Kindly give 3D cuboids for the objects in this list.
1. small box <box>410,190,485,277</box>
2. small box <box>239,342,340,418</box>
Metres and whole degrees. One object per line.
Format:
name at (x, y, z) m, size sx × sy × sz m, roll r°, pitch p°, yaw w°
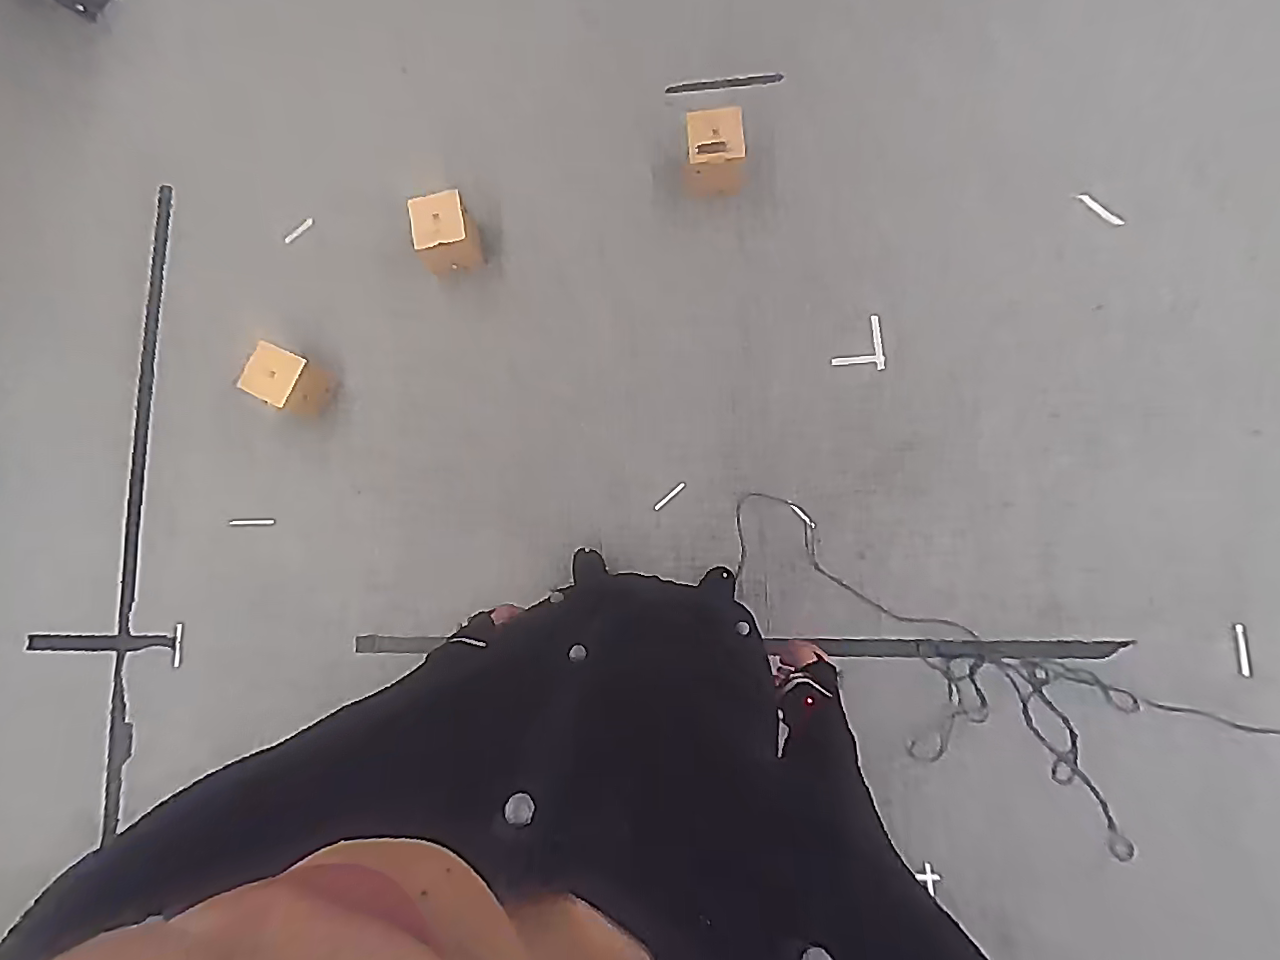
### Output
small box at (-0.615, -0.787, 1.740) m, size 0.168 × 0.176 × 0.179 m, roll -12°, pitch 82°, yaw 3°
small box at (-1.104, -0.309, 1.720) m, size 0.179 × 0.176 × 0.168 m, roll 24°, pitch 85°, yaw 8°
